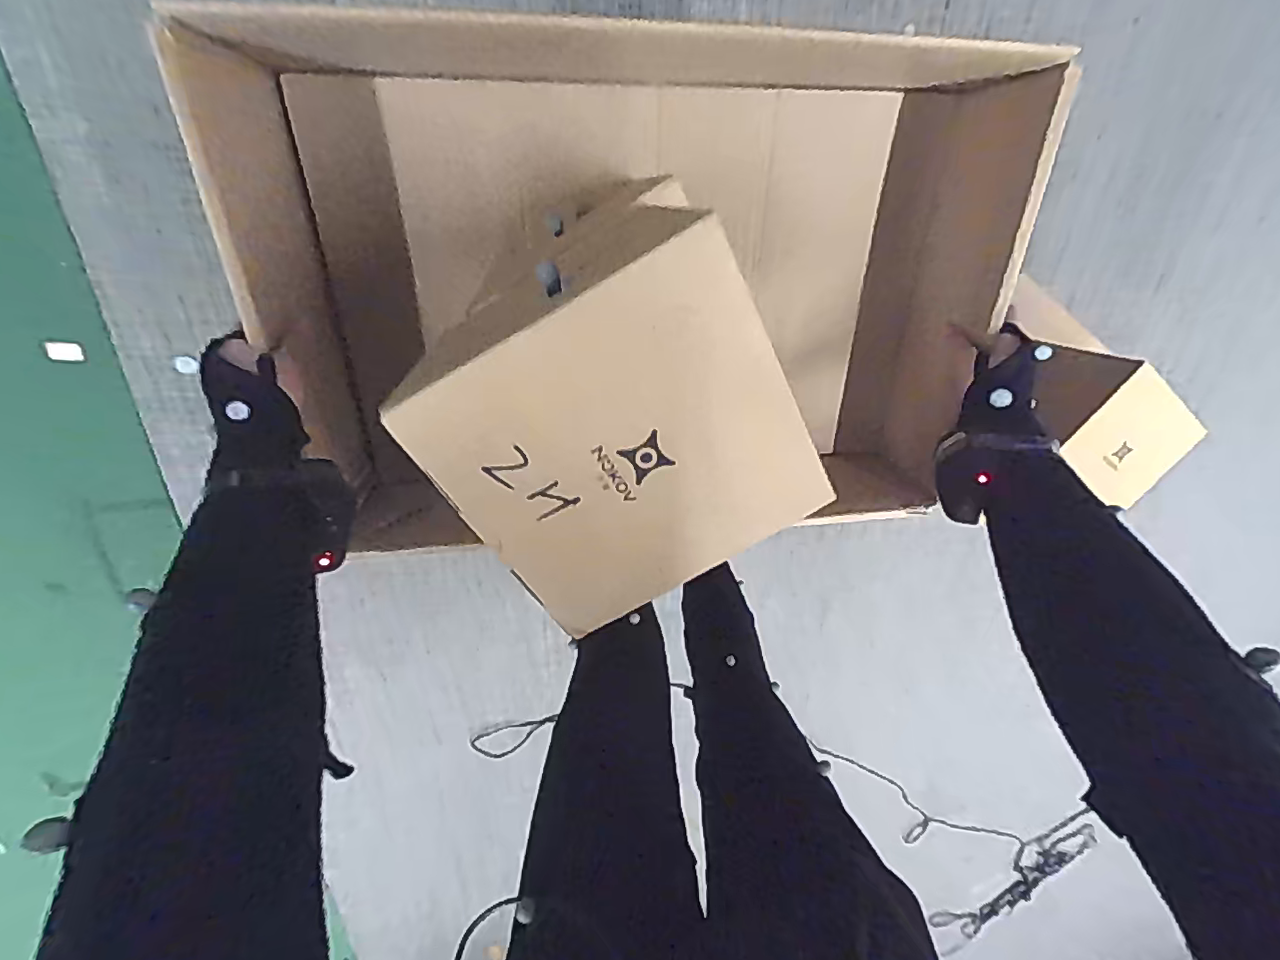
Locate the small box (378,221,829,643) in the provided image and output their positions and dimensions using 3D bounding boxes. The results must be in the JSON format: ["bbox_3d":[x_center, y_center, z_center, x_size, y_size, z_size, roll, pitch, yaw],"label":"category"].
[{"bbox_3d":[-0.019,-0.042,0.338,0.179,0.176,0.168,-29,117,7],"label":"small box"}]

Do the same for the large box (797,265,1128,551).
[{"bbox_3d":[0.569,-0.137,0.960,0.408,0.320,0.320,25,109,-20],"label":"large box"}]

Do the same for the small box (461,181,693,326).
[{"bbox_3d":[-0.025,-0.134,0.477,0.179,0.176,0.168,-30,119,7],"label":"small box"}]

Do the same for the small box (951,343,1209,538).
[{"bbox_3d":[0.571,-0.061,0.725,0.168,0.176,0.179,30,106,-20],"label":"small box"}]
